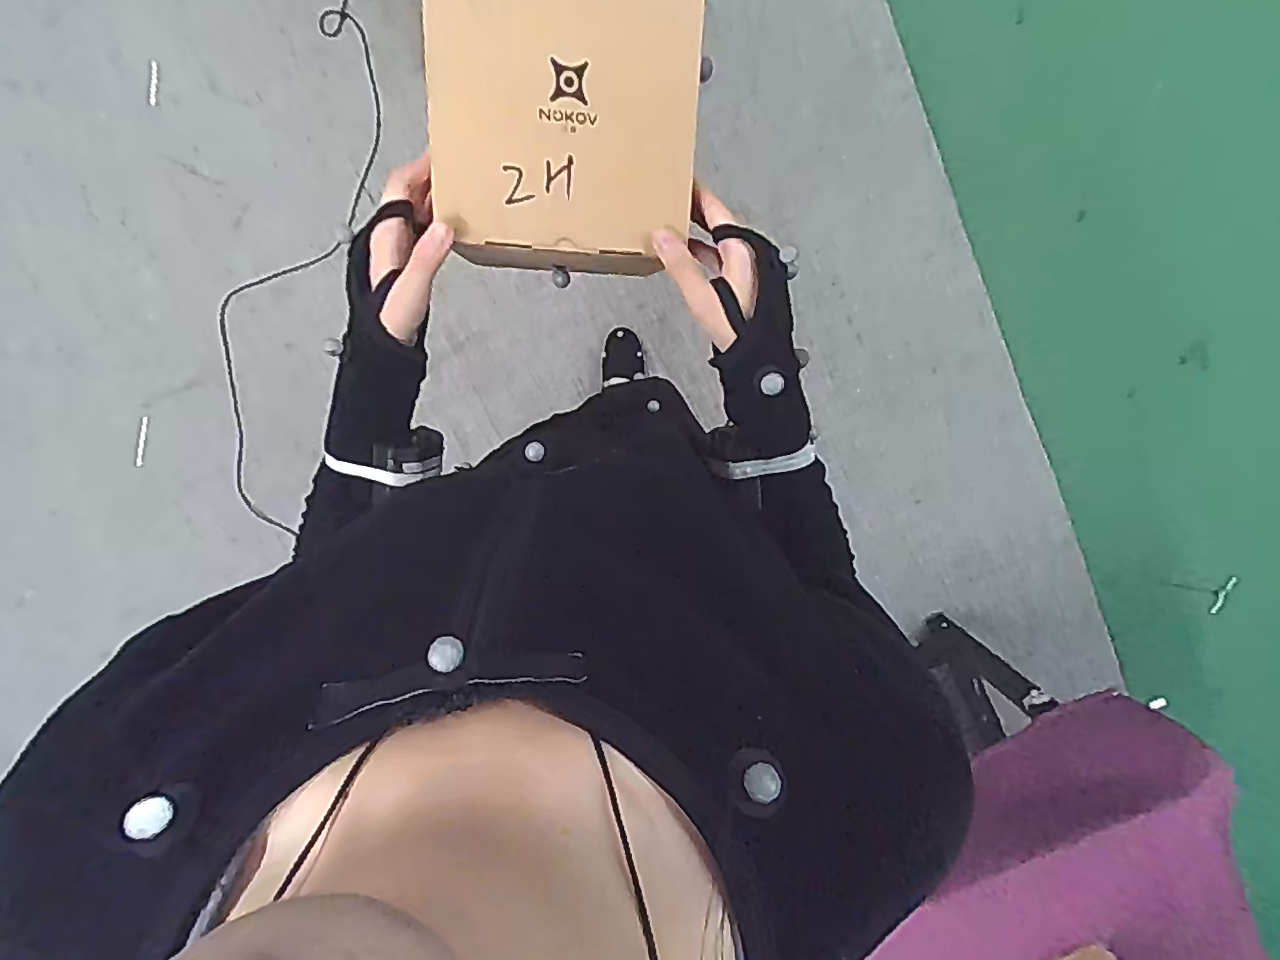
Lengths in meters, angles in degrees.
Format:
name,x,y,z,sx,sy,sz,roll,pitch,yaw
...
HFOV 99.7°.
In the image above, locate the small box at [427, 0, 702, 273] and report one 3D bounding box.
name,x,y,z,sx,sy,sz,roll,pitch,yaw
small box,-0.058,-0.261,0.410,0.168,0.176,0.179,1,107,-9
